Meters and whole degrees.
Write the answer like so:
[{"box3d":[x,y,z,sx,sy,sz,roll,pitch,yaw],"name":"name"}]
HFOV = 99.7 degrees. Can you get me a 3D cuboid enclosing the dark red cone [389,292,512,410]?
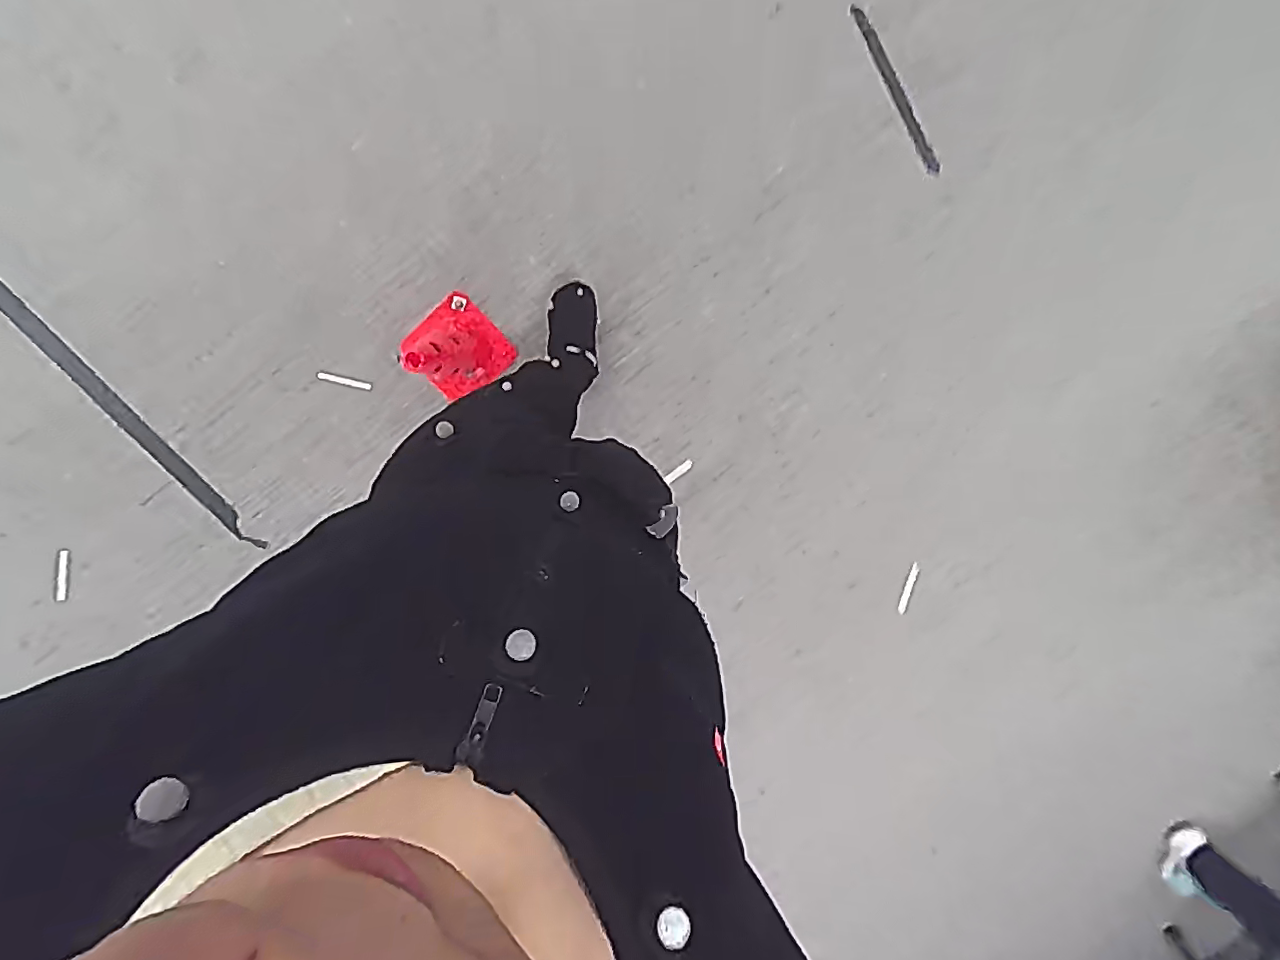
[{"box3d":[-0.403,-0.239,1.056,0.201,0.394,0.202,-42,105,8],"name":"dark red cone"}]
